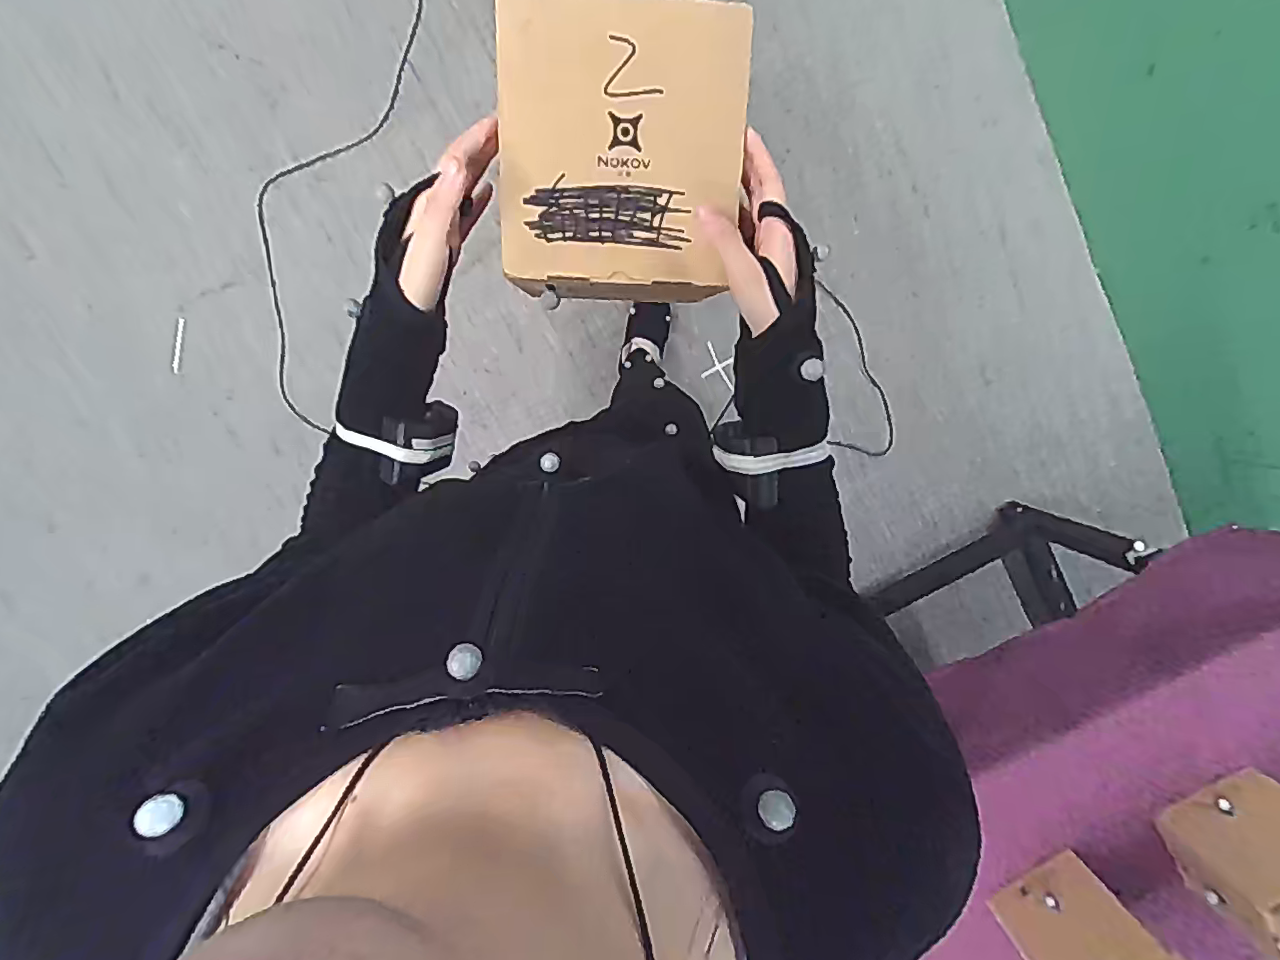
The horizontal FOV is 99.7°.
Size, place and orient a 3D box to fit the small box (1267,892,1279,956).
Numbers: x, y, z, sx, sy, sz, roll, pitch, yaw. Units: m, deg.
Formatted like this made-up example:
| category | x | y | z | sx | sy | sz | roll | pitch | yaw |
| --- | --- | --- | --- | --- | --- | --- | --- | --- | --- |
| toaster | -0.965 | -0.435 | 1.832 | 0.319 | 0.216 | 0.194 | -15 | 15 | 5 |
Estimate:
| category | x | y | z | sx | sy | sz | roll | pitch | yaw |
| --- | --- | --- | --- | --- | --- | --- | --- | --- | --- |
| small box | 0.950 | 0.617 | 0.666 | 0.179 | 0.176 | 0.168 | -31 | 100 | 4 |

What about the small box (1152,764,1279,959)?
| category | x | y | z | sx | sy | sz | roll | pitch | yaw |
| --- | --- | --- | --- | --- | --- | --- | --- | --- | --- |
| small box | 0.947 | 0.584 | 0.827 | 0.179 | 0.176 | 0.168 | -31 | 101 | 5 |

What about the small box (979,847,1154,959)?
| category | x | y | z | sx | sy | sz | roll | pitch | yaw |
| --- | --- | --- | --- | --- | --- | --- | --- | --- | --- |
| small box | 0.691 | 0.737 | 0.852 | 0.168 | 0.176 | 0.179 | -36 | 99 | 5 |
